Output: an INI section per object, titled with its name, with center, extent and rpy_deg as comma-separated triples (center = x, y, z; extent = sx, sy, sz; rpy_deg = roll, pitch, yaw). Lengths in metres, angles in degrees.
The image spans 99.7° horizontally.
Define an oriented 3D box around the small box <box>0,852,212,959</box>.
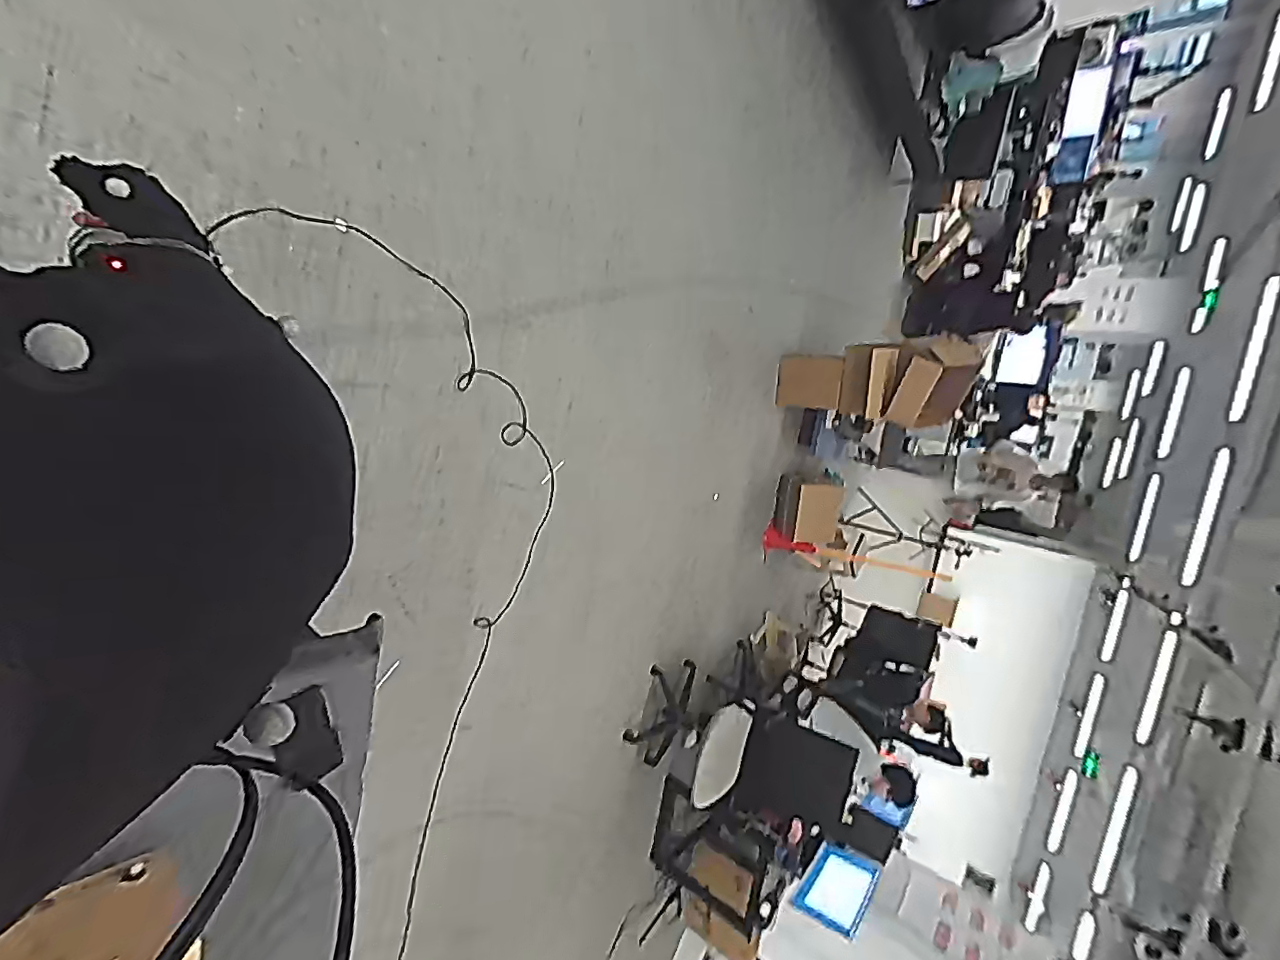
[small box]
center = -0.600, 0.554, 0.589
extent = 0.168, 0.176, 0.179
rpy_deg = 1, 102, -53
